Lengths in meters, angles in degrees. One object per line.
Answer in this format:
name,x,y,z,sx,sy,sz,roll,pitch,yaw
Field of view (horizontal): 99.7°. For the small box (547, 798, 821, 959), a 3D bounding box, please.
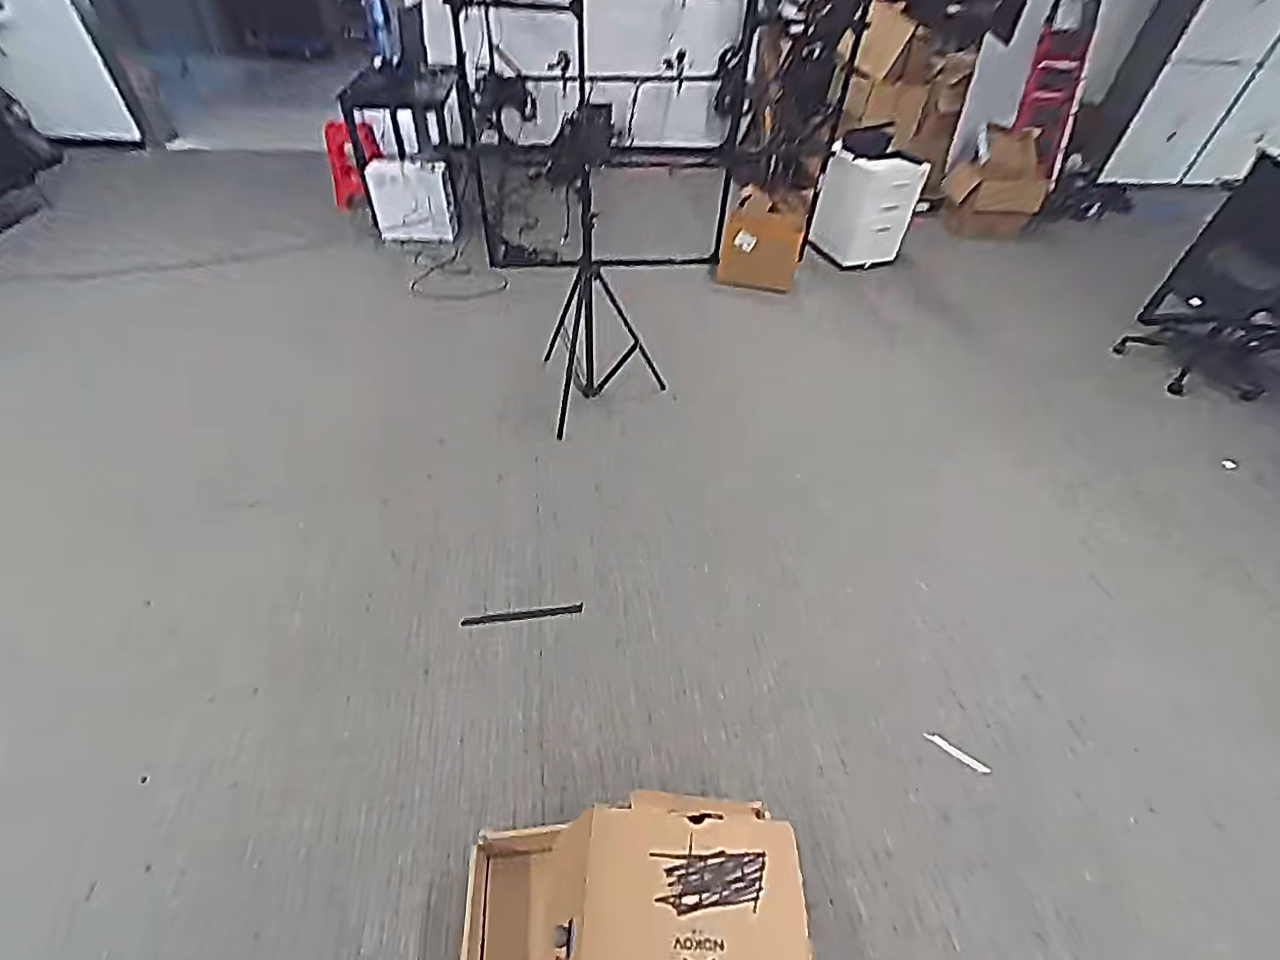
small box,0.022,0.363,0.408,0.168,0.176,0.179,12,47,-11
